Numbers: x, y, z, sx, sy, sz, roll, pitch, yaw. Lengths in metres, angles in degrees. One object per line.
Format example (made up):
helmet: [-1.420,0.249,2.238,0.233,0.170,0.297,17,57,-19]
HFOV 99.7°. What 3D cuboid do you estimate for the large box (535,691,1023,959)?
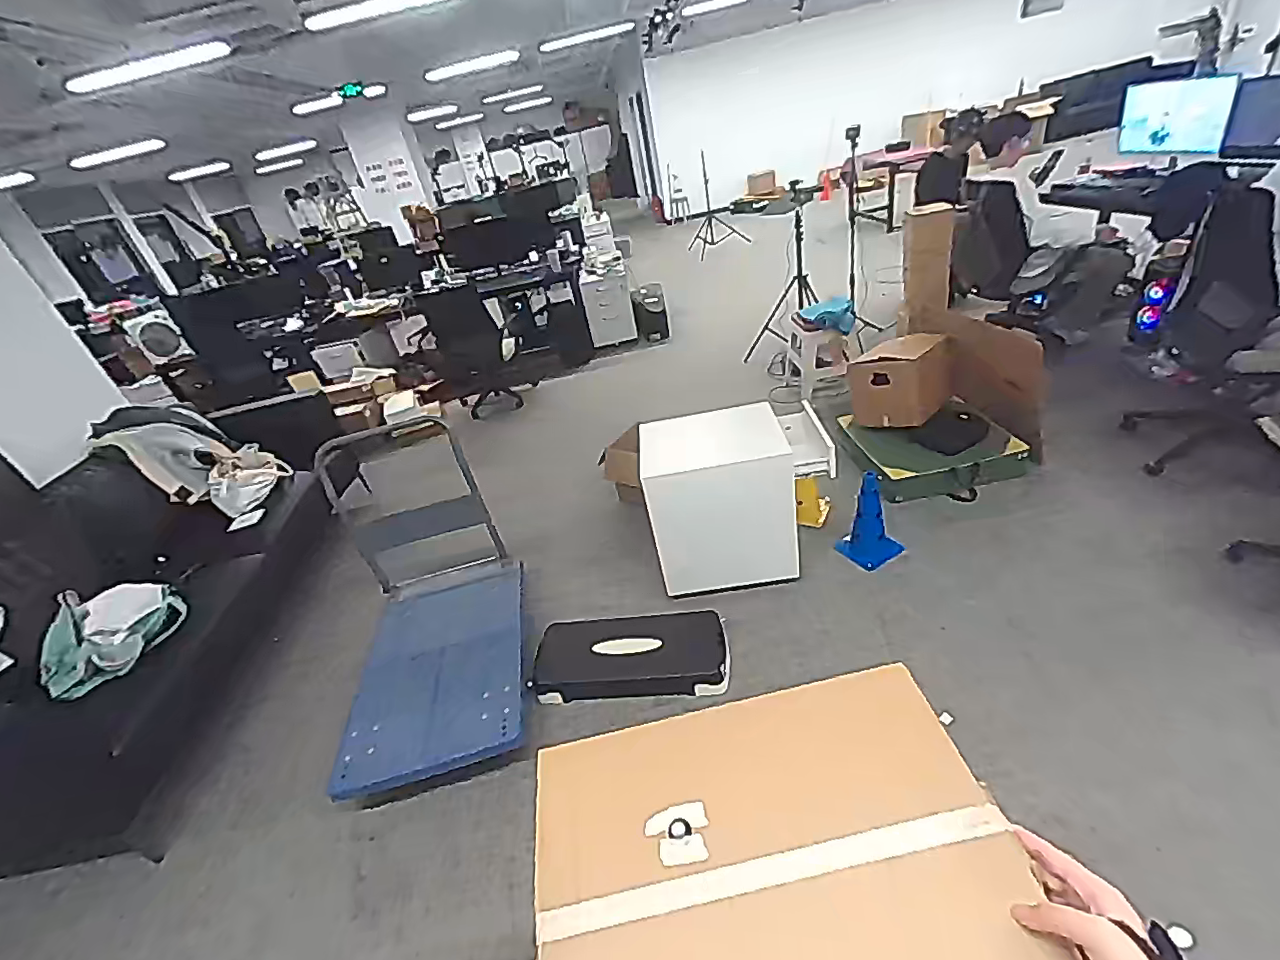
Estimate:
large box: [0.138,0.445,0.586,0.408,0.320,0.320,-10,52,12]
